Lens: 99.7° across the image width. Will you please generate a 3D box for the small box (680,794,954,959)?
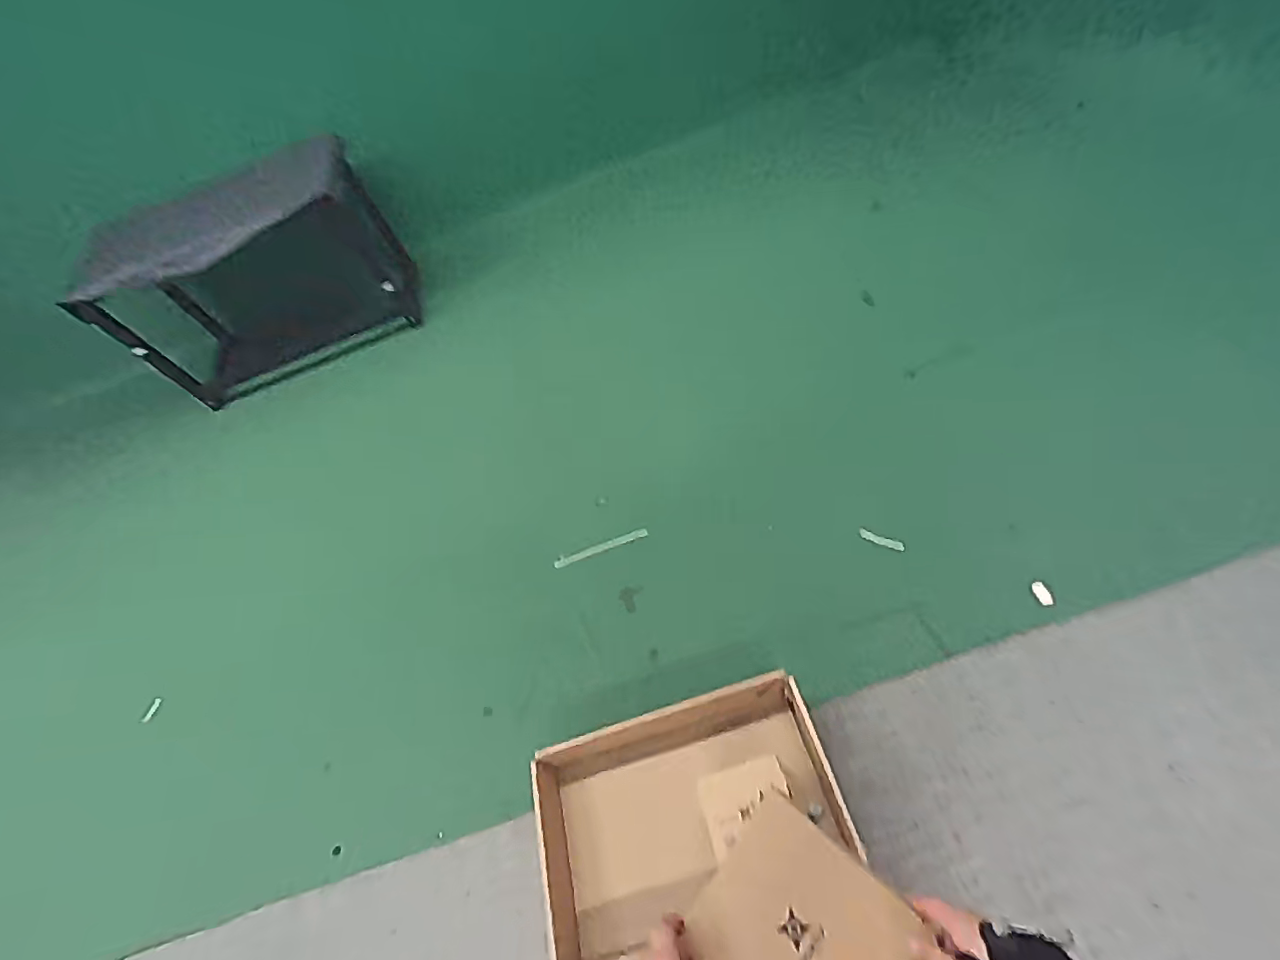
[{"bbox_3d":[0.169,0.448,0.537,0.179,0.176,0.168,32,75,30],"label":"small box"}]
